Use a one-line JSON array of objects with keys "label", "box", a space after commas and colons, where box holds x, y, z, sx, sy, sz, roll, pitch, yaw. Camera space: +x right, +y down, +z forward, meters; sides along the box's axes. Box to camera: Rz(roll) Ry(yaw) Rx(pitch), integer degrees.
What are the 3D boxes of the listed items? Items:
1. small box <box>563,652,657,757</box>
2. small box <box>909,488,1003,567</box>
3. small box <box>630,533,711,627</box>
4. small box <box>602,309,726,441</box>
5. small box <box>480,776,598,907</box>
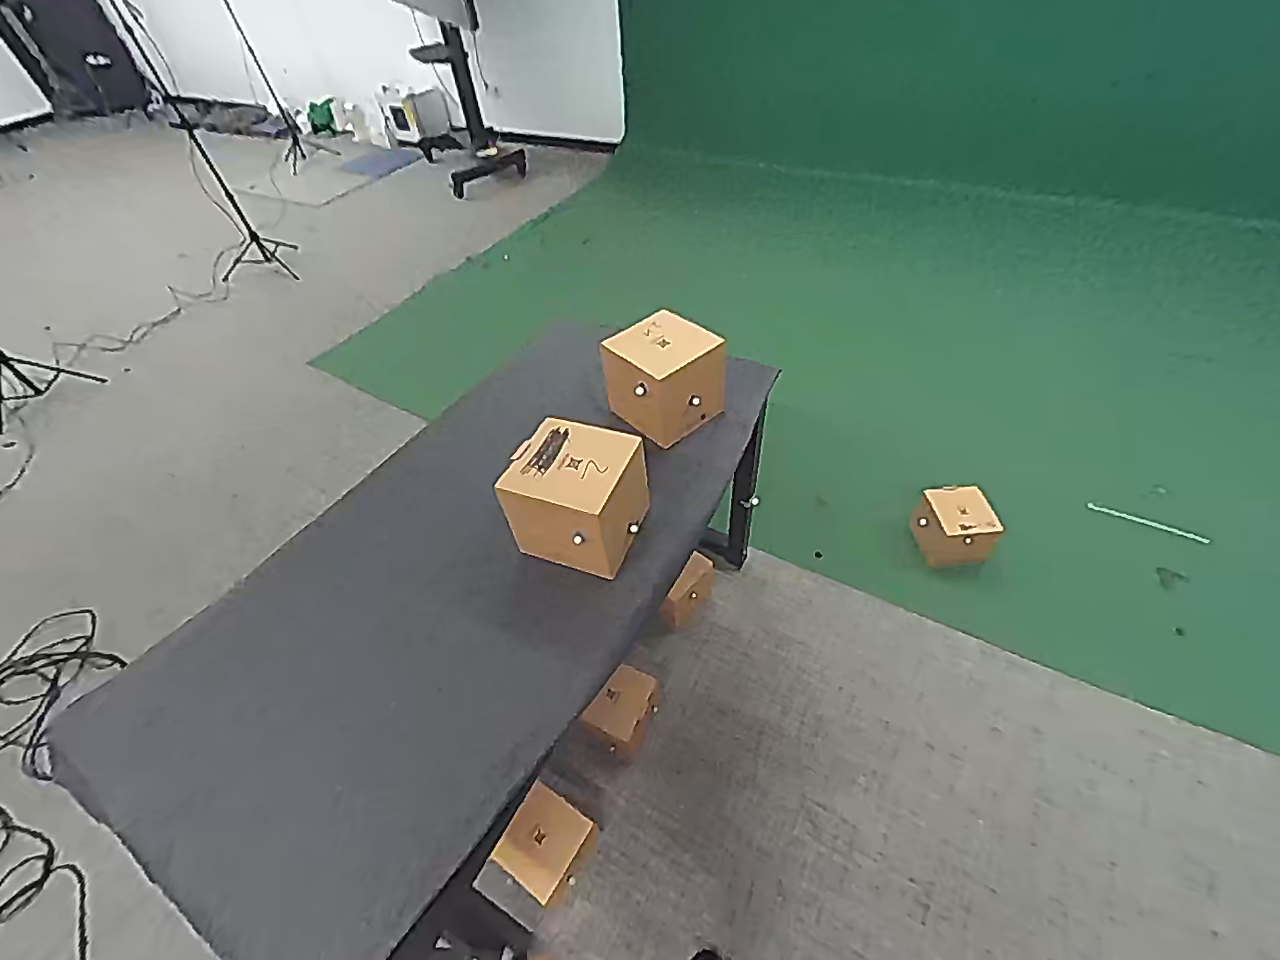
[{"label": "small box", "box": [-0.066, 0.570, 1.360, 0.179, 0.176, 0.168, 18, 52, 21]}, {"label": "small box", "box": [0.955, 0.146, 1.654, 0.168, 0.176, 0.179, -4, 48, 1]}, {"label": "small box", "box": [0.093, 0.298, 1.587, 0.168, 0.176, 0.179, 33, 57, 28]}, {"label": "small box", "box": [0.050, -0.199, 1.052, 0.168, 0.176, 0.179, -34, 52, -23]}, {"label": "small box", "box": [-0.211, 0.790, 1.181, 0.179, 0.176, 0.168, 24, 55, 24]}]
